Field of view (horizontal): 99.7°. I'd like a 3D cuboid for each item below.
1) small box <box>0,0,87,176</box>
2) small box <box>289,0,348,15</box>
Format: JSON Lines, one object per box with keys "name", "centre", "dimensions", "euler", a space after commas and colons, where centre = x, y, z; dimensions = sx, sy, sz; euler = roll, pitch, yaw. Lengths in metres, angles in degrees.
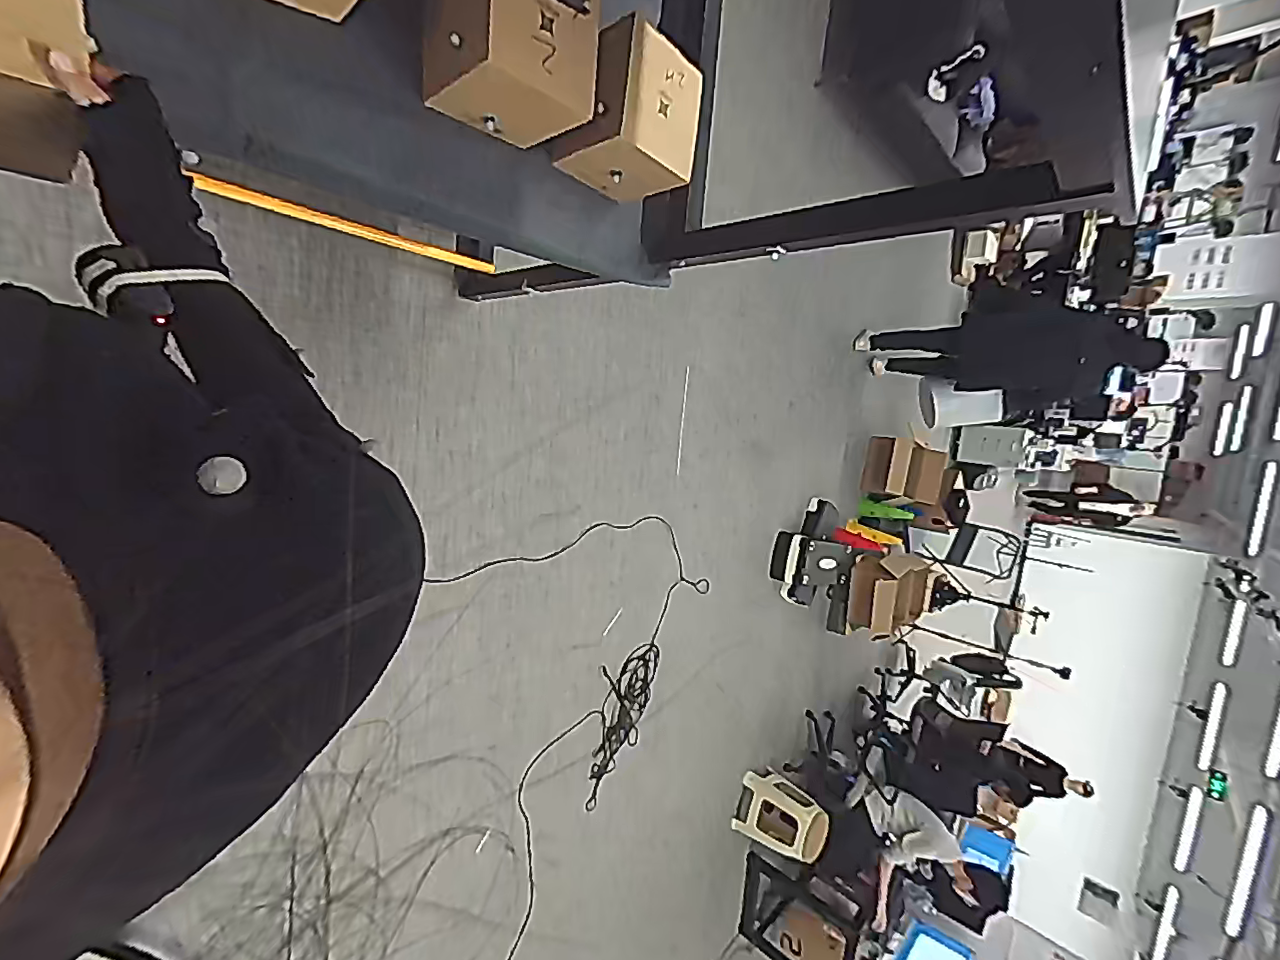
{"name": "small box", "centre": [-0.494, -0.338, 0.351], "dimensions": [0.168, 0.176, 0.179], "euler": [-8, 97, -50]}
{"name": "small box", "centre": [-0.365, -0.605, 0.521], "dimensions": [0.168, 0.176, 0.179], "euler": [-17, 111, -44]}
